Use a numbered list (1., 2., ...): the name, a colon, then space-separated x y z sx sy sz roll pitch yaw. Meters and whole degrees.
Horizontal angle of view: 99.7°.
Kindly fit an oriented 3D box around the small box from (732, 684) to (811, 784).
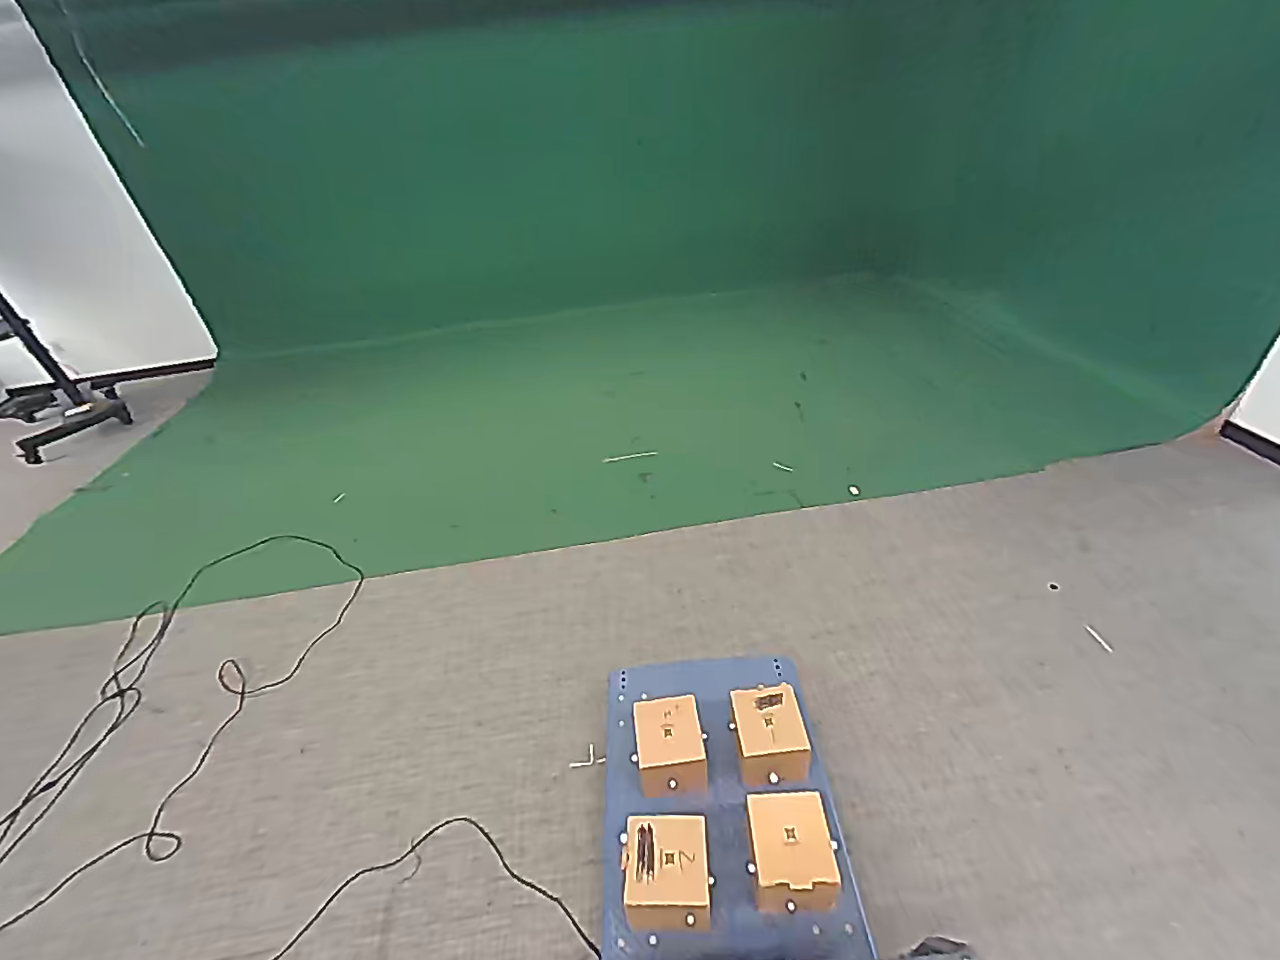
1. small box: 0.334 0.664 1.414 0.168 0.176 0.179 -7 38 1

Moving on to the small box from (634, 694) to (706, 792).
1. small box: 0.079 0.695 1.417 0.168 0.176 0.179 -7 37 -1

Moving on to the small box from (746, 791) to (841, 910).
1. small box: 0.332 0.825 1.206 0.168 0.176 0.179 -5 37 3
